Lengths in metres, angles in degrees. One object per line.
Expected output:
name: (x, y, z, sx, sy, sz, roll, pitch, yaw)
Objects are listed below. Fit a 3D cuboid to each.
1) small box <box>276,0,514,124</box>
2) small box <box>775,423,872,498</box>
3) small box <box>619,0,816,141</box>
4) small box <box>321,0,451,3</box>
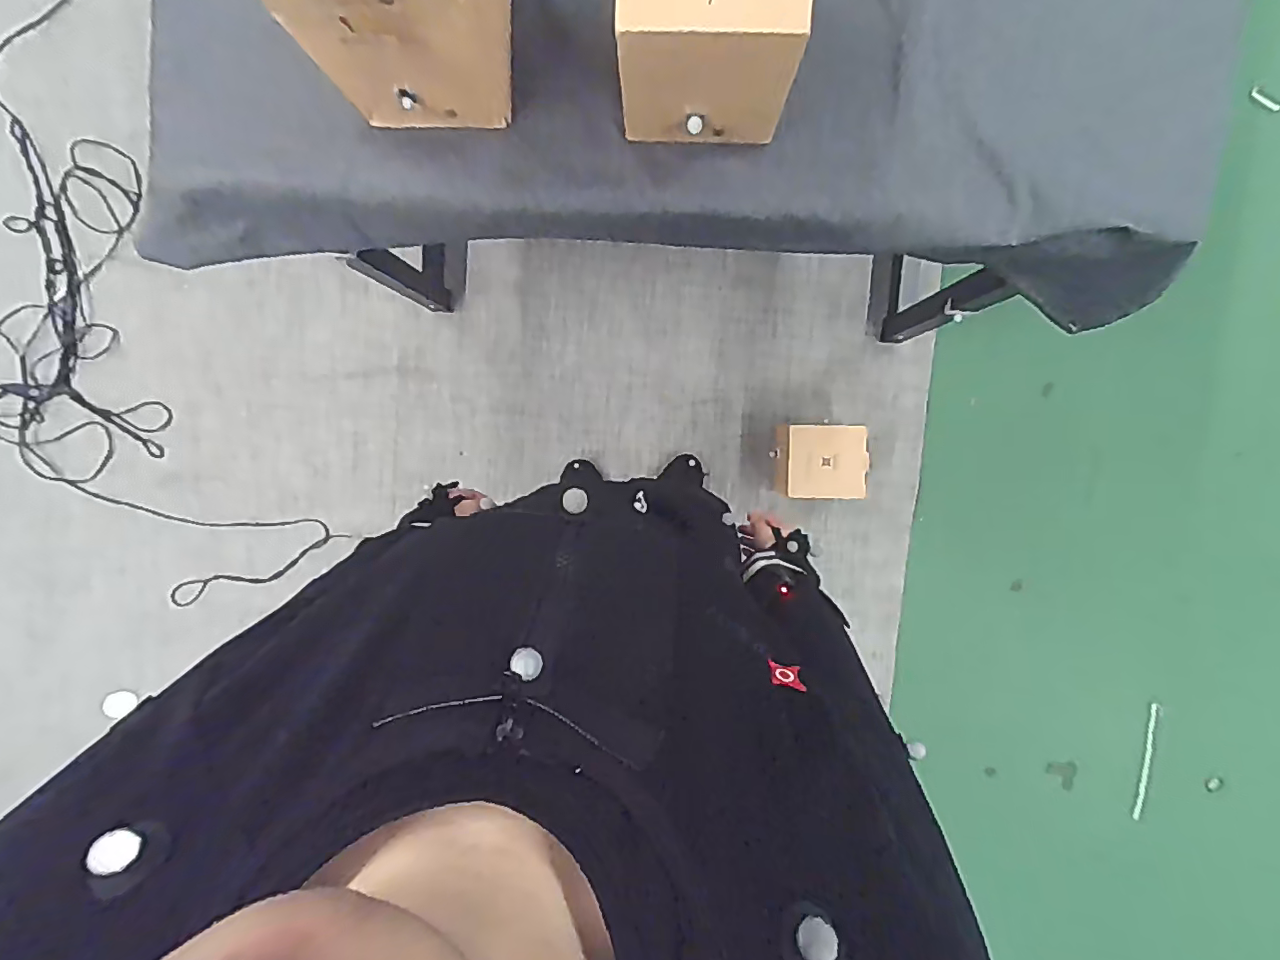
small box: (-0.228, -0.493, 0.536, 0.168, 0.176, 0.179, 1, 95, 2)
small box: (0.425, -0.049, 1.273, 0.179, 0.176, 0.168, 0, 93, 3)
small box: (0.070, -0.467, 0.523, 0.168, 0.176, 0.179, 3, 94, 2)
small box: (-0.229, -0.478, 0.373, 0.168, 0.176, 0.179, 0, 95, 2)
